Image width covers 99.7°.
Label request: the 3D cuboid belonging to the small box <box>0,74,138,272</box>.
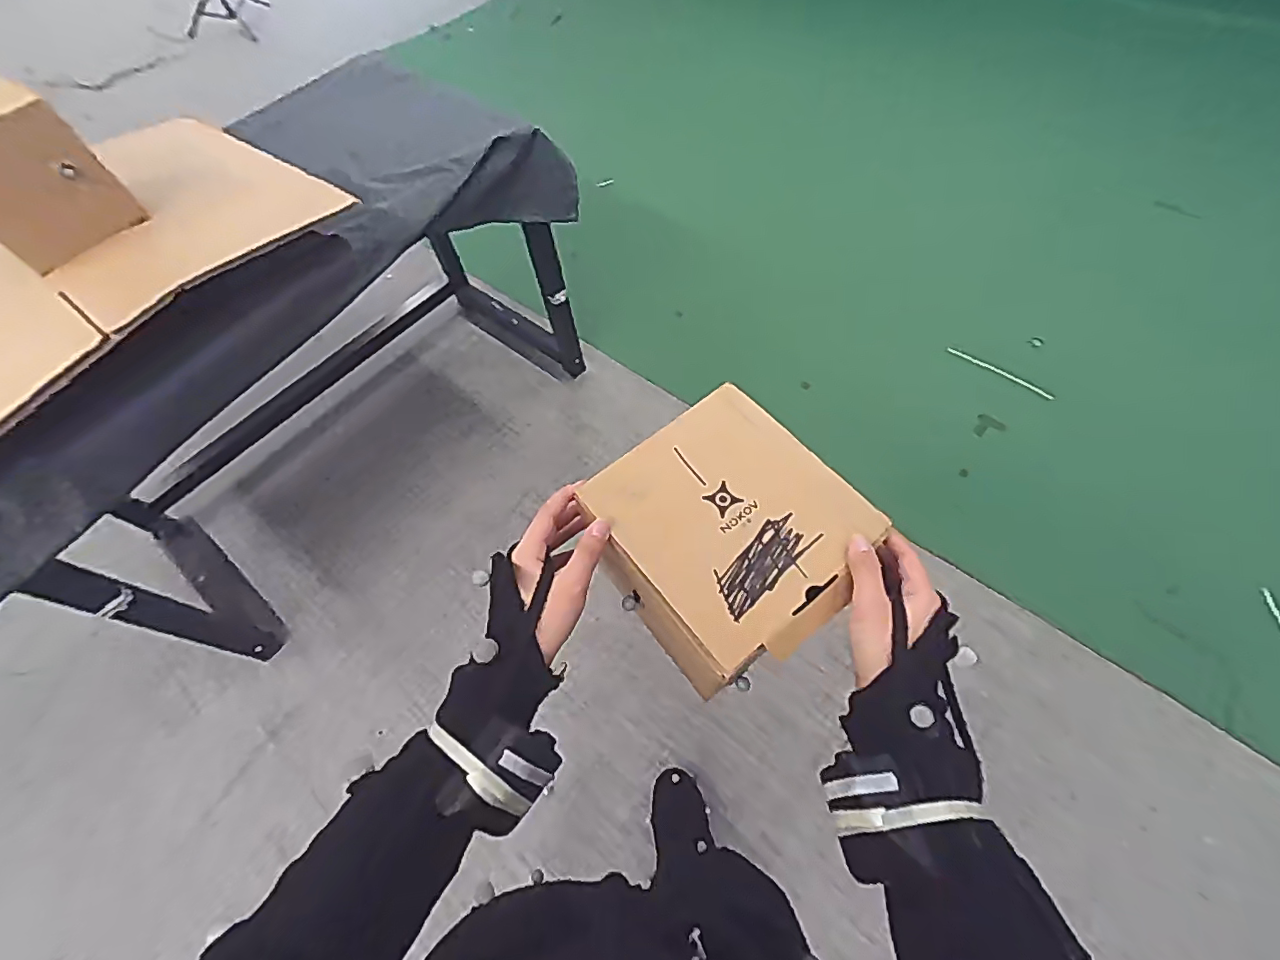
[{"bbox_3d":[-0.888,-0.438,0.778,0.168,0.176,0.179,31,67,23],"label":"small box"}]
